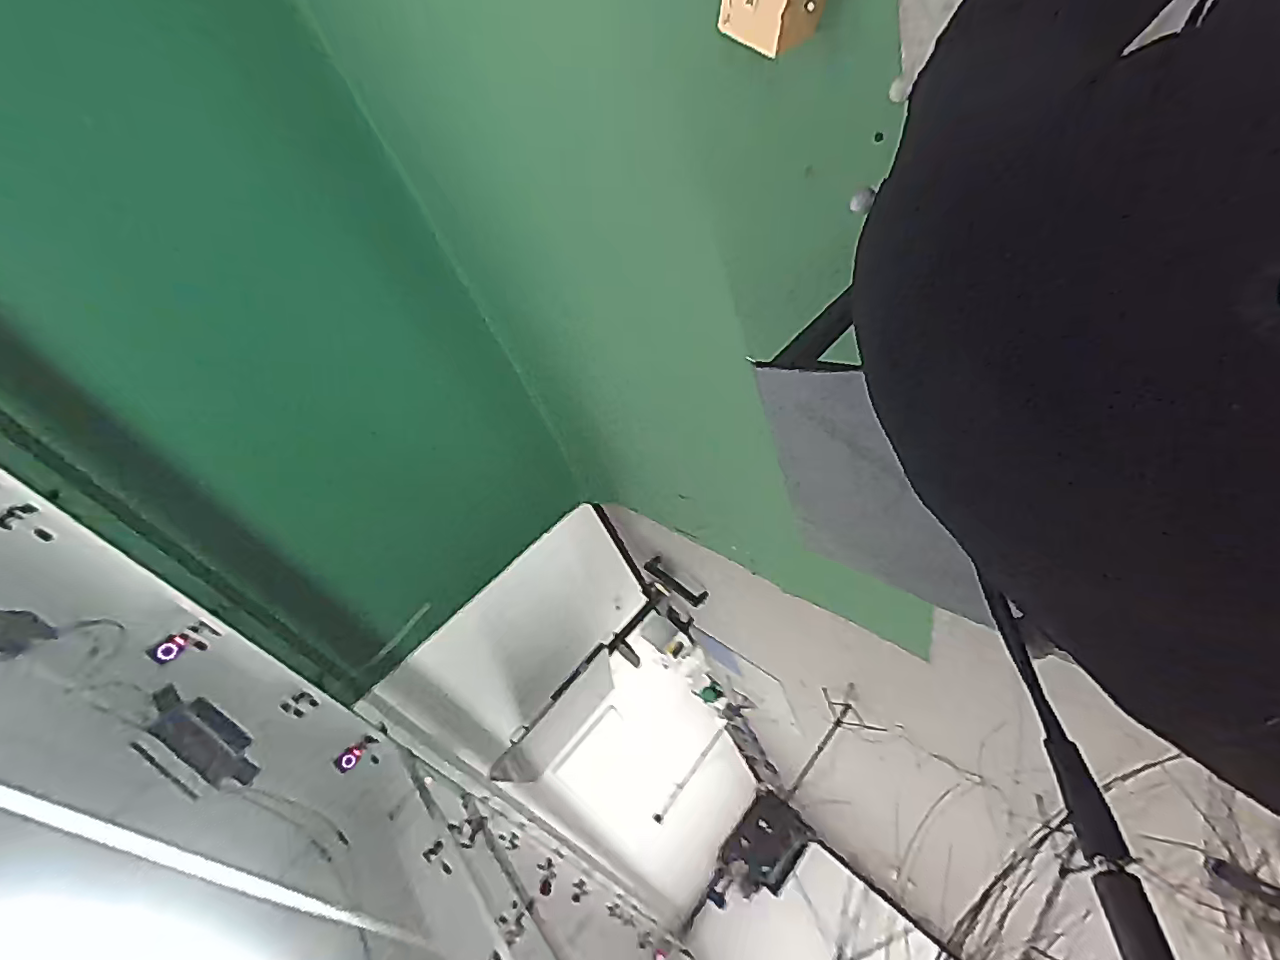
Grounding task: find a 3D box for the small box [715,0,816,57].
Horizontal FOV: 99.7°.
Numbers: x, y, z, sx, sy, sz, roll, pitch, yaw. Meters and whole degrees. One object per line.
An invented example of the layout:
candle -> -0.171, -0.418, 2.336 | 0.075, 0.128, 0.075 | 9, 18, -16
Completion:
small box -> 0.301, -1.121, 1.233 | 0.179, 0.176, 0.168 | 40, 157, 15
